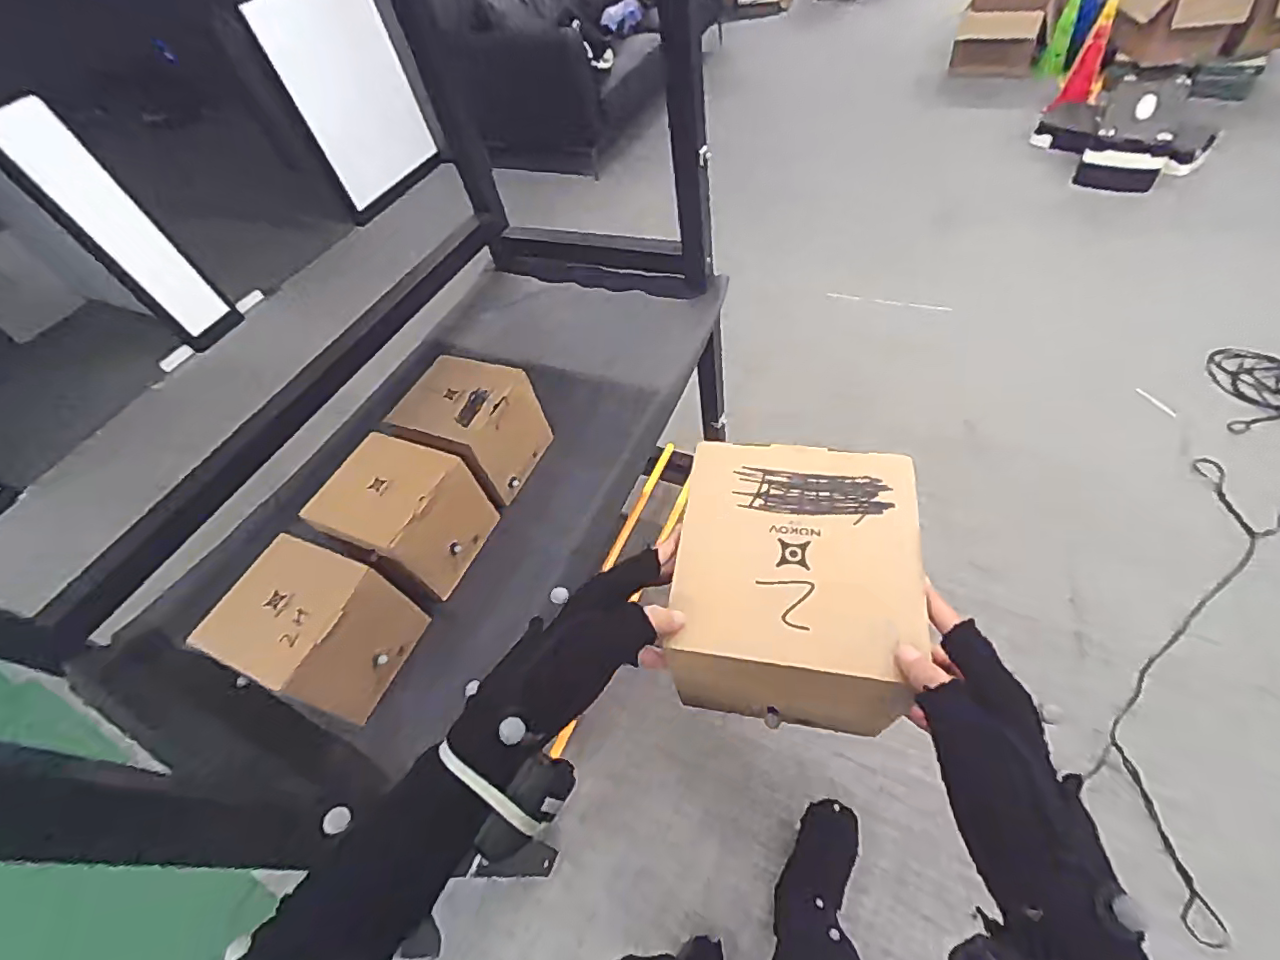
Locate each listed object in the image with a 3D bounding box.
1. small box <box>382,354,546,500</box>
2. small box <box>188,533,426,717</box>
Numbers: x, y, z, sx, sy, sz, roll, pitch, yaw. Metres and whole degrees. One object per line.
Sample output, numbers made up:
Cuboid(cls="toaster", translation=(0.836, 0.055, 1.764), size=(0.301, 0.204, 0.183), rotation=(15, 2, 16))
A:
Cuboid(cls="small box", translation=(-0.286, -0.087, 0.924), size=(0.179, 0.176, 0.168), rotation=(14, 58, 22))
Cuboid(cls="small box", translation=(-0.438, 0.201, 0.738), size=(0.179, 0.176, 0.168), rotation=(14, 58, 21))
